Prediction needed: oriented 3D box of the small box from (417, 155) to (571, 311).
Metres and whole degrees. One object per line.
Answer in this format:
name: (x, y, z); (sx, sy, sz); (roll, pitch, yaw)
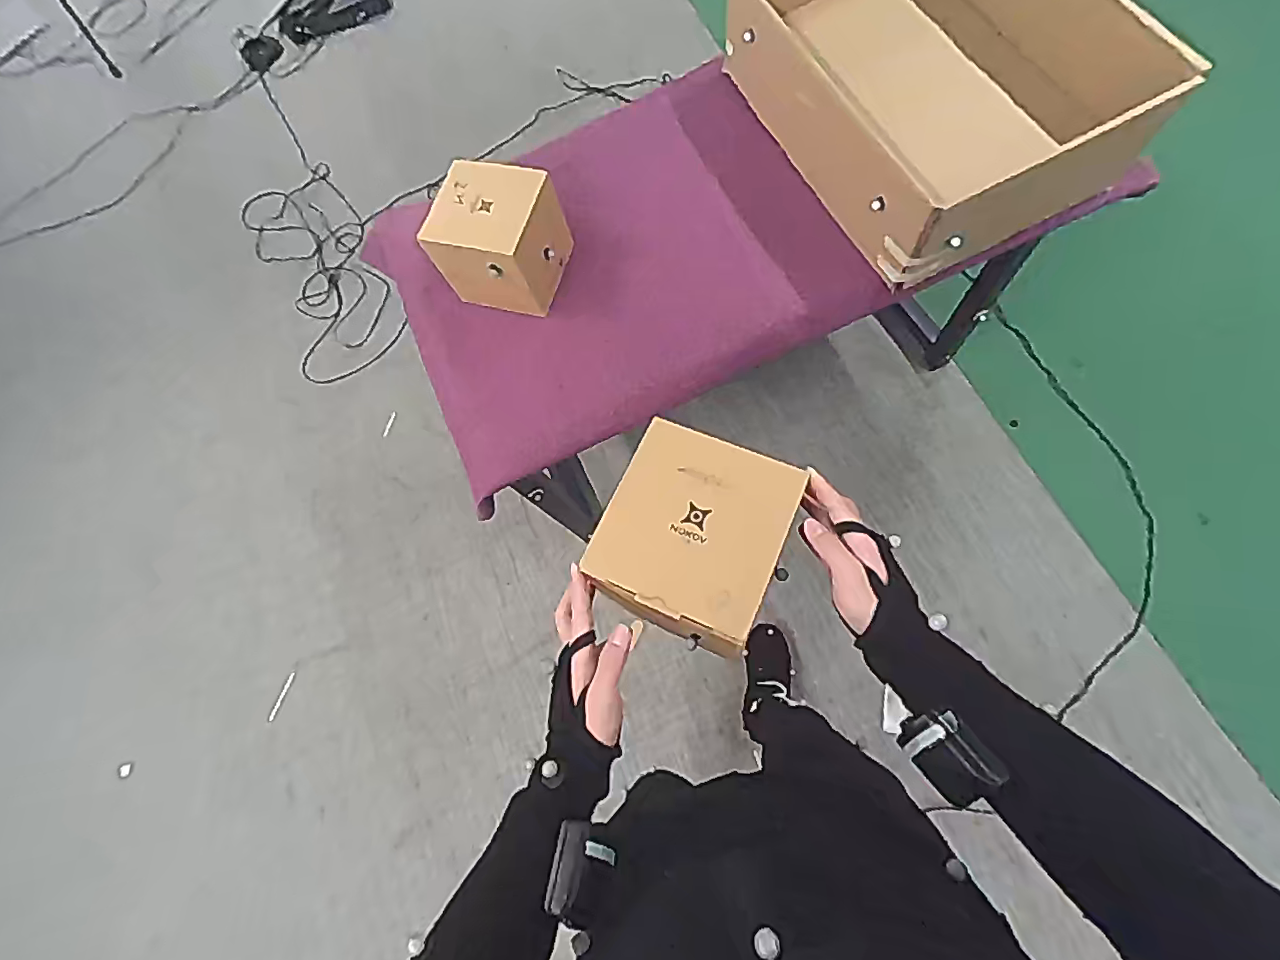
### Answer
small box: (-0.238, -0.416, 0.933); (0.179, 0.176, 0.168); (15, 76, 13)
